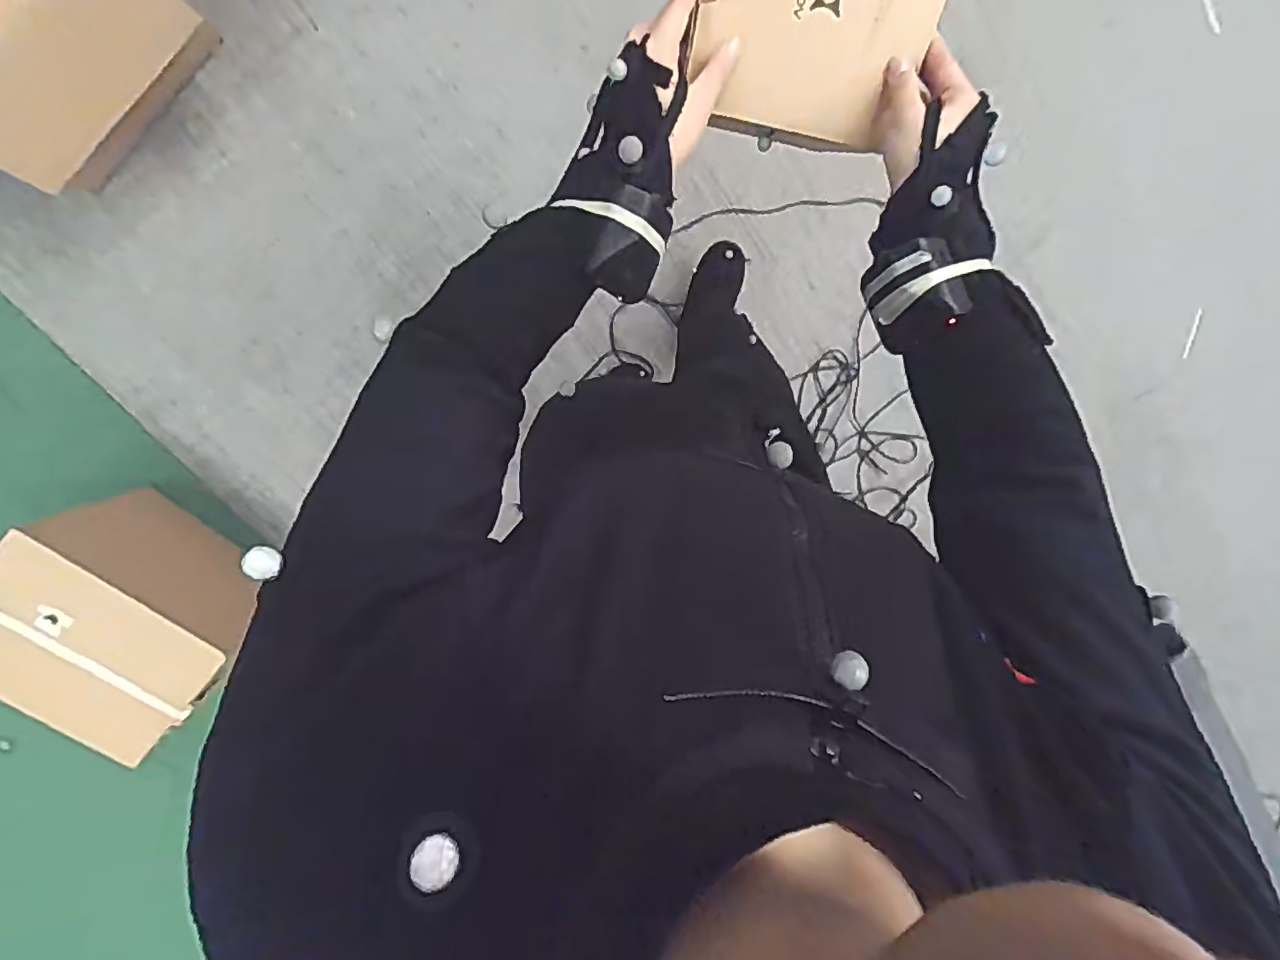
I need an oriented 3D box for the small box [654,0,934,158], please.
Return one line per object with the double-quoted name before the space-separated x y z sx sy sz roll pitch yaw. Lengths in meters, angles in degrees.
"small box" 0.113 -0.374 0.444 0.179 0.176 0.168 6 121 -9
